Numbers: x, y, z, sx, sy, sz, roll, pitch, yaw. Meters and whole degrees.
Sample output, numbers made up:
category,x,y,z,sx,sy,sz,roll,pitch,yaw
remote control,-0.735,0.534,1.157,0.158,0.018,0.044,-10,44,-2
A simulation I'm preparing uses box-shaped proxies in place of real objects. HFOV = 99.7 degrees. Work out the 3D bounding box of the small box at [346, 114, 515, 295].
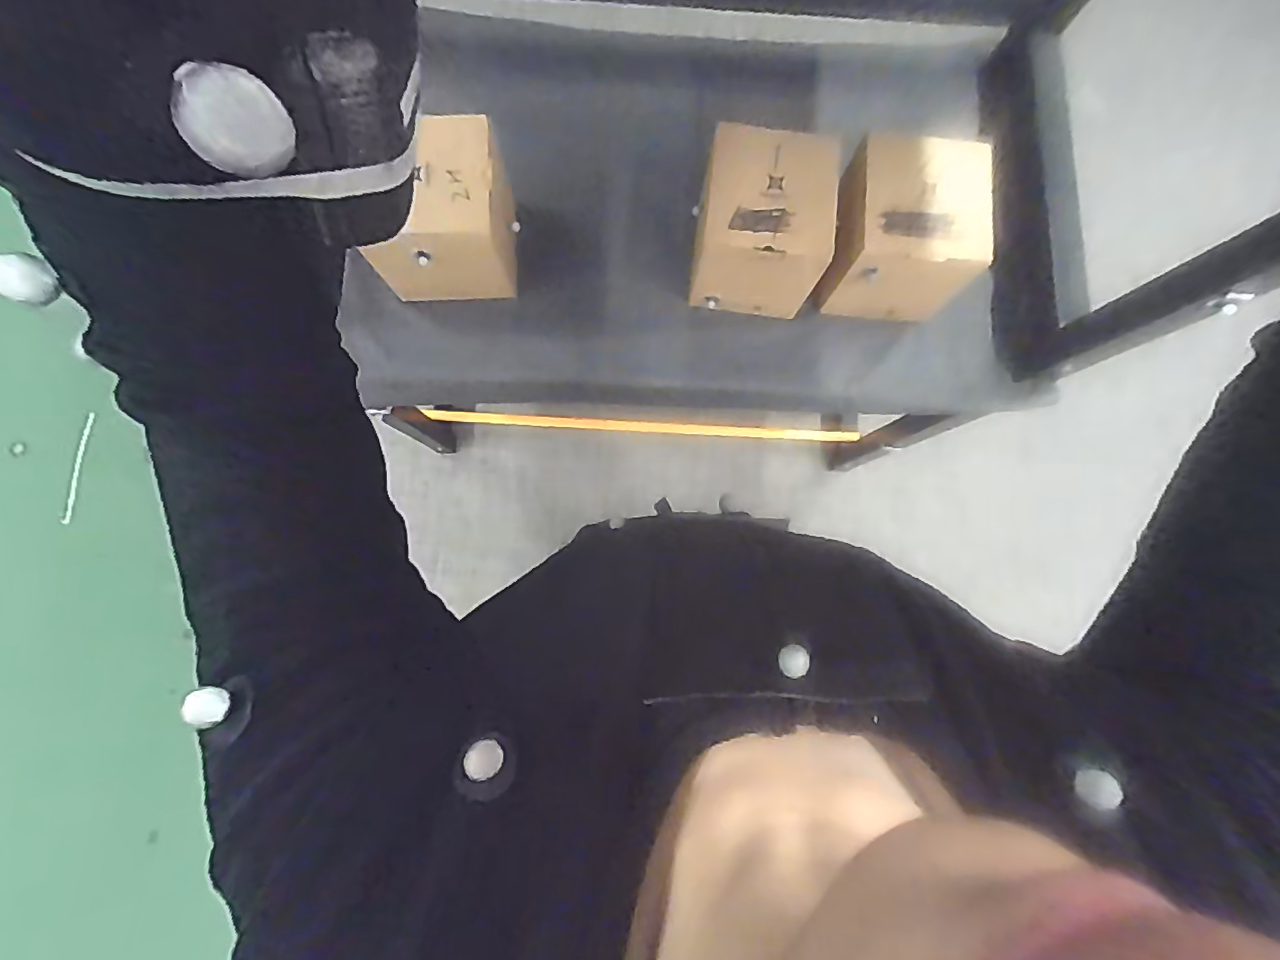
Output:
category,x,y,z,sx,sy,sz,roll,pitch,yaw
small box,-0.280,-0.373,0.757,0.179,0.176,0.168,-2,82,-3
